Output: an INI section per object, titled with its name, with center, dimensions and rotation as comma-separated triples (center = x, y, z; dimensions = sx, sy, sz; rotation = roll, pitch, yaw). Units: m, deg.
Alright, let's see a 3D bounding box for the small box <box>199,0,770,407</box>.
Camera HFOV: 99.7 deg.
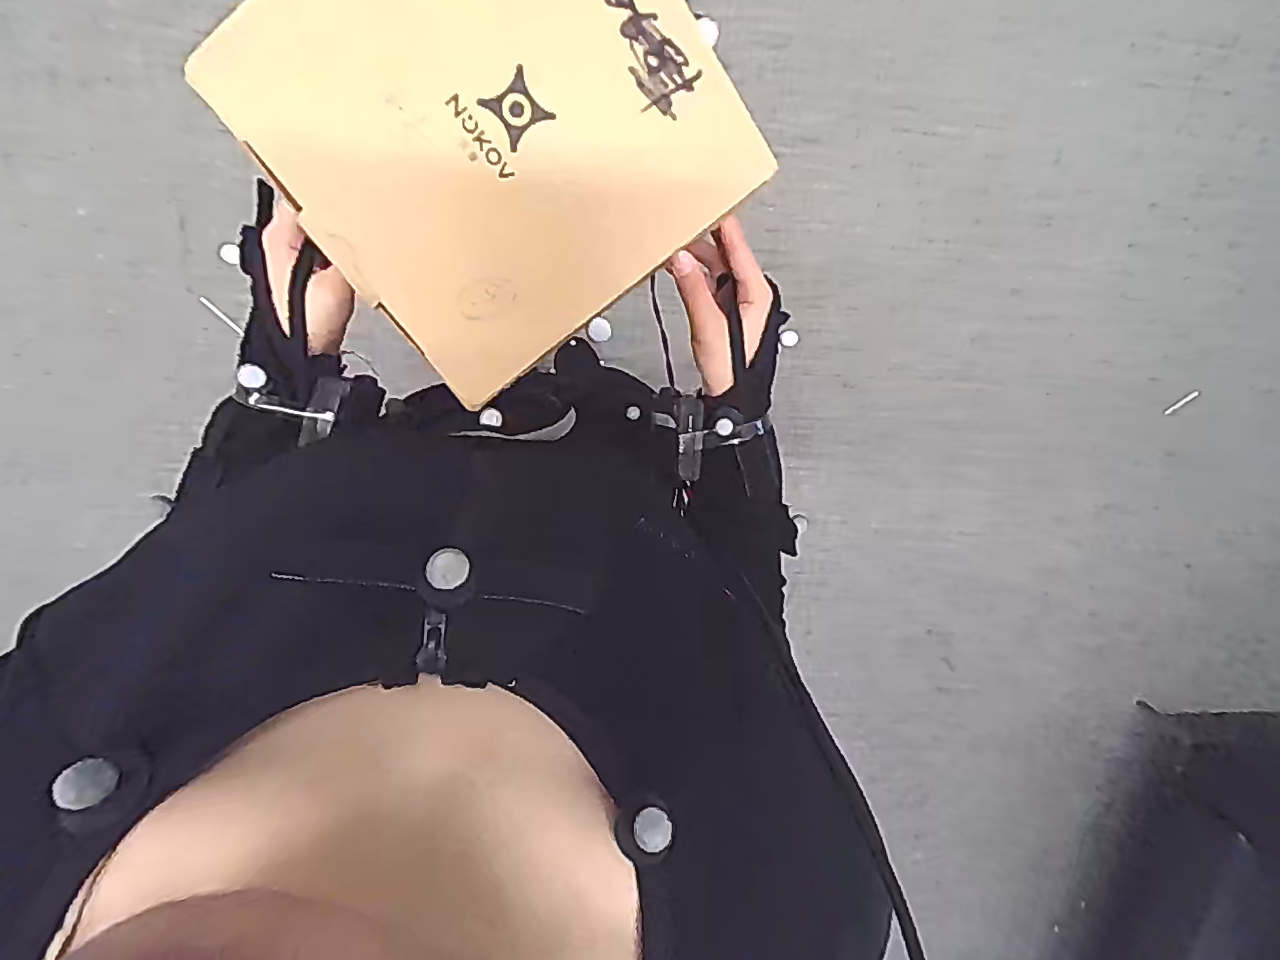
[small box]
center = -0.063, -0.164, 0.298
dimensions = 0.179, 0.176, 0.168
rotation = -36, 106, 6
